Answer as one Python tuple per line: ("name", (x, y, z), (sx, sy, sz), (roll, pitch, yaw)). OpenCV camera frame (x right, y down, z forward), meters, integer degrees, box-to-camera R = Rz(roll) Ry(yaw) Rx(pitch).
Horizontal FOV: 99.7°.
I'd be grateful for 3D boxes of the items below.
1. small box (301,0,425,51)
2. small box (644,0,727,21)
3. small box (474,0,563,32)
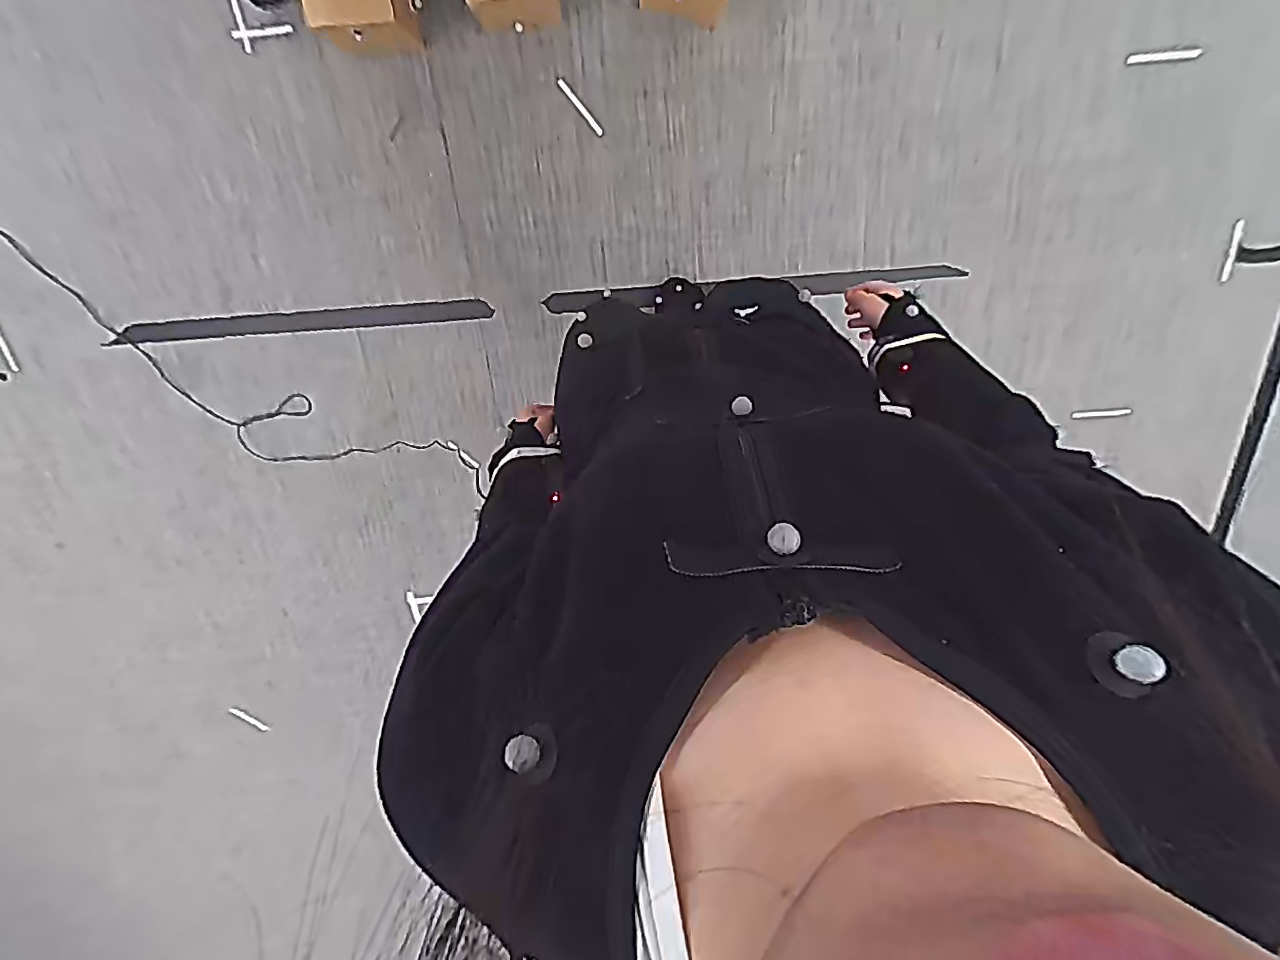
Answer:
("small box", (-0.555, -0.981, 1.075), (0.179, 0.176, 0.168), (-2, 113, 1))
("small box", (0.104, -1.031, 1.045), (0.179, 0.176, 0.168), (12, 112, -3))
("small box", (-0.252, -1.019, 1.053), (0.168, 0.176, 0.179), (-5, 113, 3))
